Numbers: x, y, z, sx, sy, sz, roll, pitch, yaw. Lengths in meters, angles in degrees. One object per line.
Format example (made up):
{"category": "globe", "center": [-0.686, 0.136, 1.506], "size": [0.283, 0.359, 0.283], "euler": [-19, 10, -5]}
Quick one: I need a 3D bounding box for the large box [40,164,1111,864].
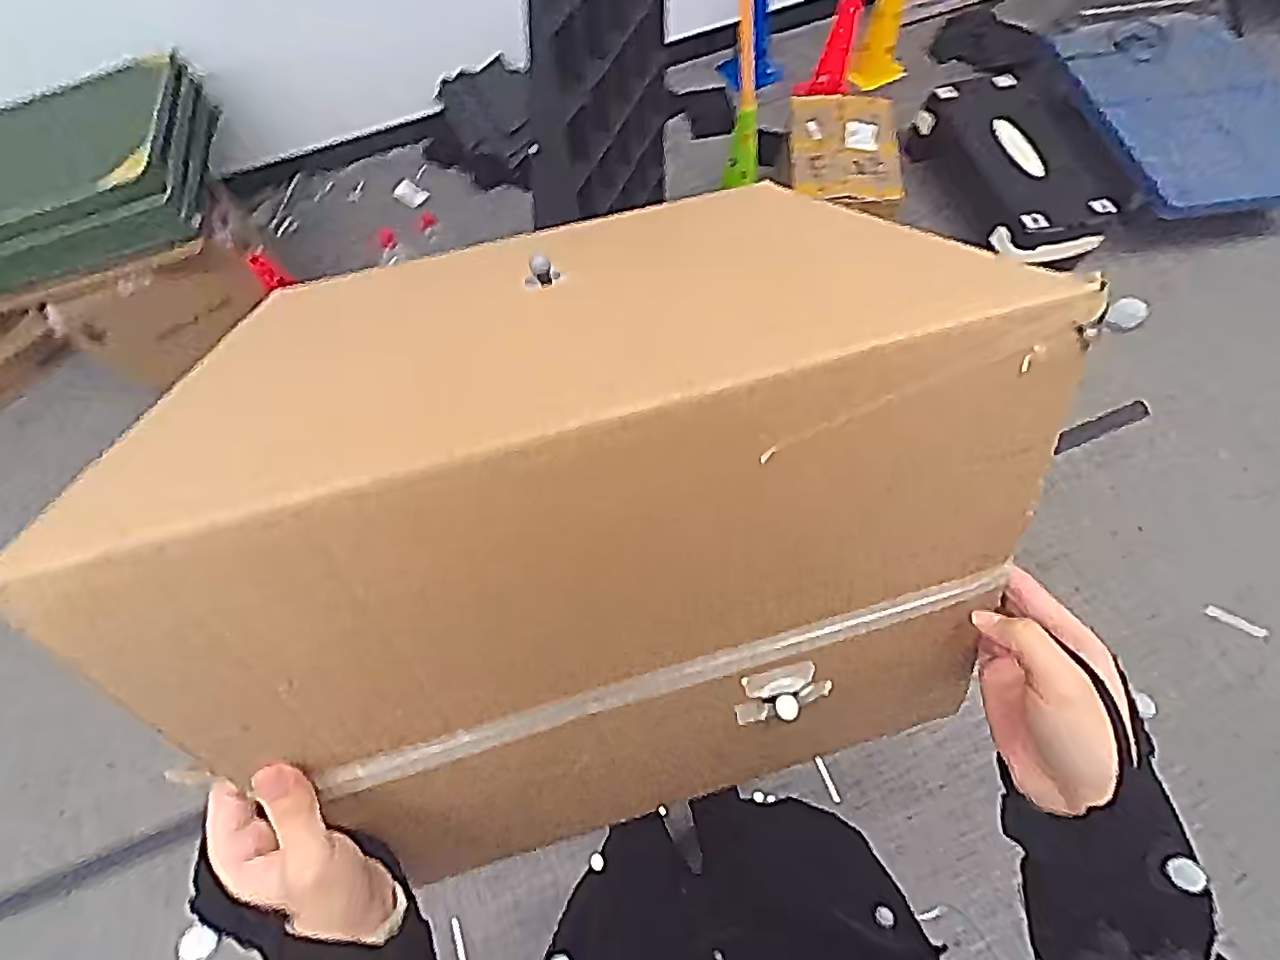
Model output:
{"category": "large box", "center": [-0.018, -0.005, 0.397], "size": [0.408, 0.320, 0.320], "euler": [-16, 38, -5]}
